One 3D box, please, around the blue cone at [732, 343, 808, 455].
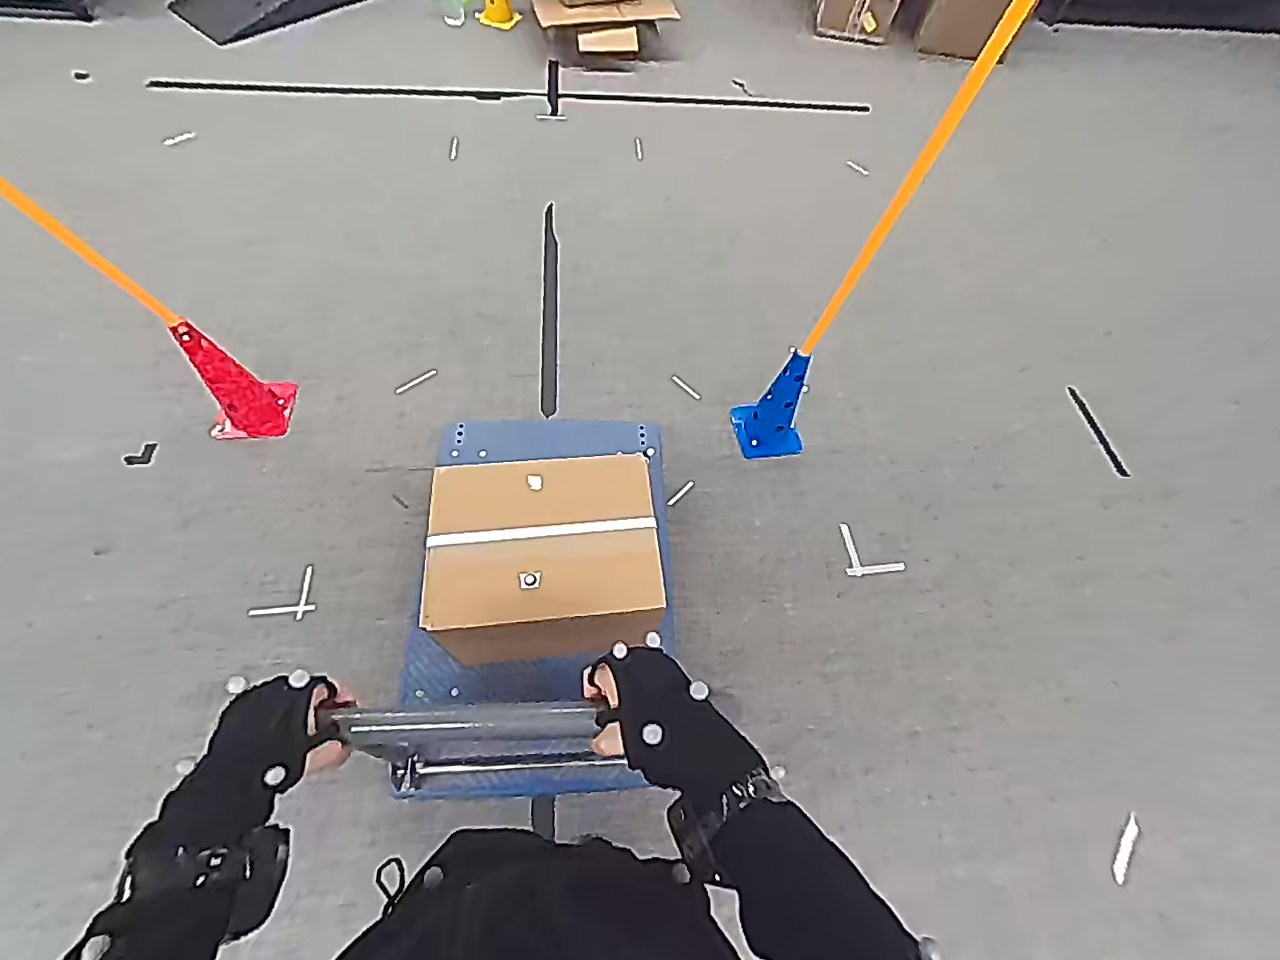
[{"bbox_3d":[0.414,-0.244,1.575,0.193,0.380,0.192,-5,60,-9],"label":"blue cone"}]
